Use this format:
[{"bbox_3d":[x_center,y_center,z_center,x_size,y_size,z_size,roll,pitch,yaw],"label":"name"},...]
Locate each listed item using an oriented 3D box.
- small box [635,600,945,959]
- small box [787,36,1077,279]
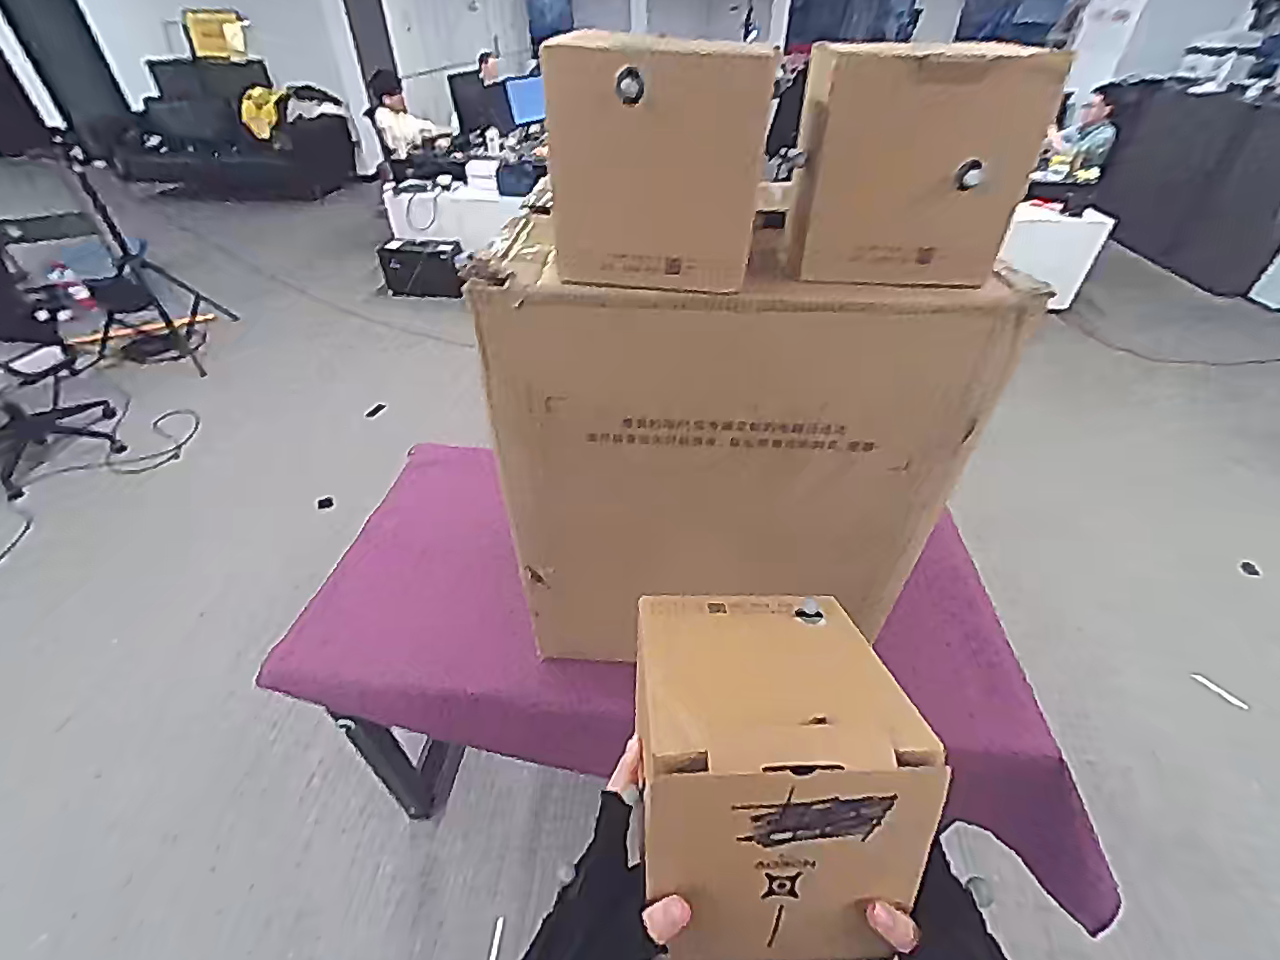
[{"bbox_3d":[0.082,0.201,0.394,0.168,0.179,0.176,0,18,-2],"label":"small box"},{"bbox_3d":[0.236,-0.296,0.497,0.168,0.176,0.179,5,39,5],"label":"small box"}]
